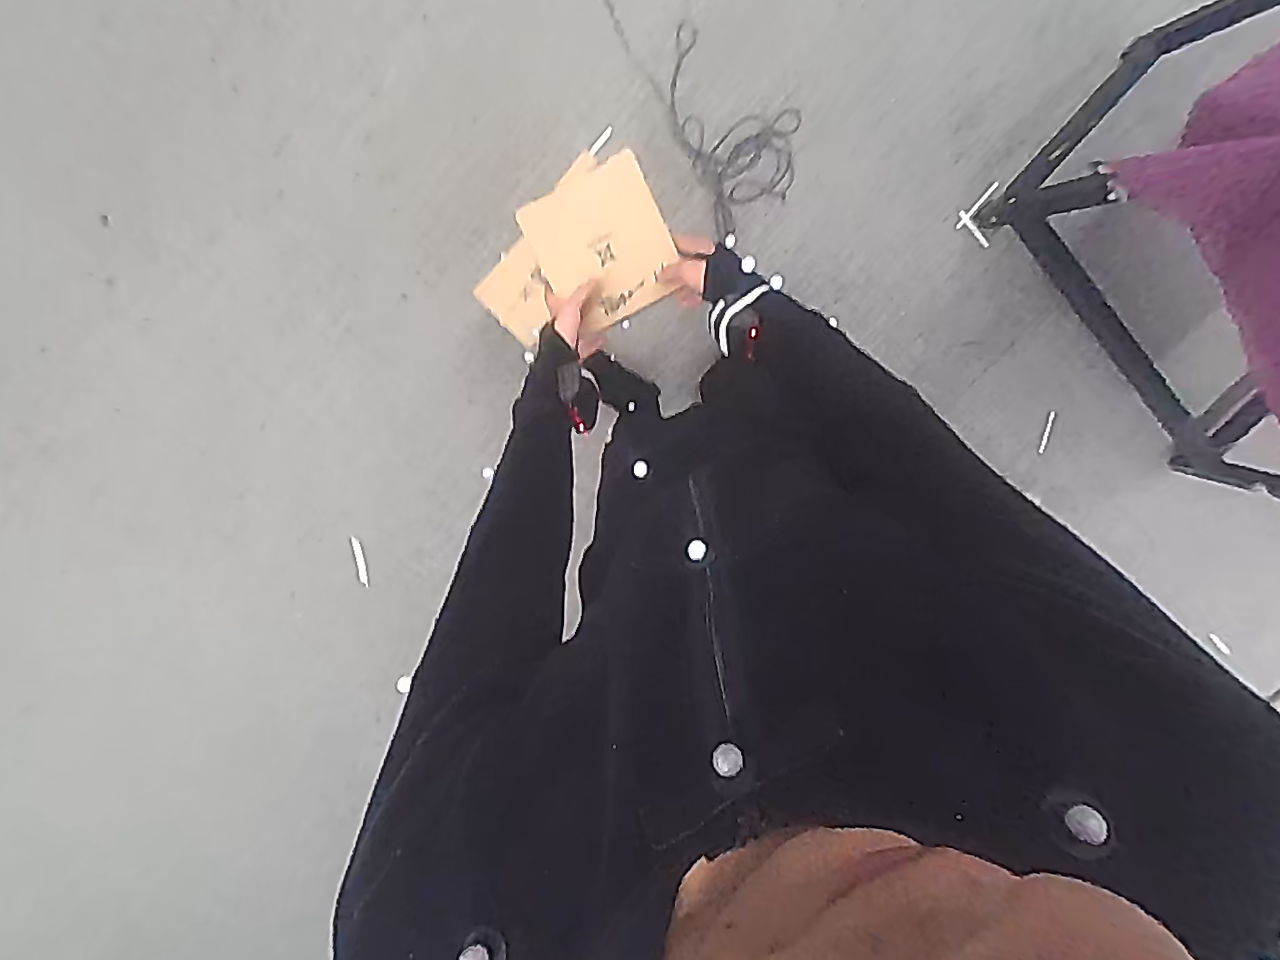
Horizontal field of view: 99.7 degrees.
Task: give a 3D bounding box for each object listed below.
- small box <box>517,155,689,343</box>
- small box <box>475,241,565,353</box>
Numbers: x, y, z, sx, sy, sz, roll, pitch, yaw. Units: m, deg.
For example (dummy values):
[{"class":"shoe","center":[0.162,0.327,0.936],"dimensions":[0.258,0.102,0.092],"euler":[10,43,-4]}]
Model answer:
[{"class":"small box","center":[-0.045,-0.307,0.757],"dimensions":[0.168,0.176,0.179],"euler":[-25,104,9]},{"class":"small box","center":[-0.243,-0.416,1.228],"dimensions":[0.179,0.176,0.168],"euler":[-43,106,10]}]
